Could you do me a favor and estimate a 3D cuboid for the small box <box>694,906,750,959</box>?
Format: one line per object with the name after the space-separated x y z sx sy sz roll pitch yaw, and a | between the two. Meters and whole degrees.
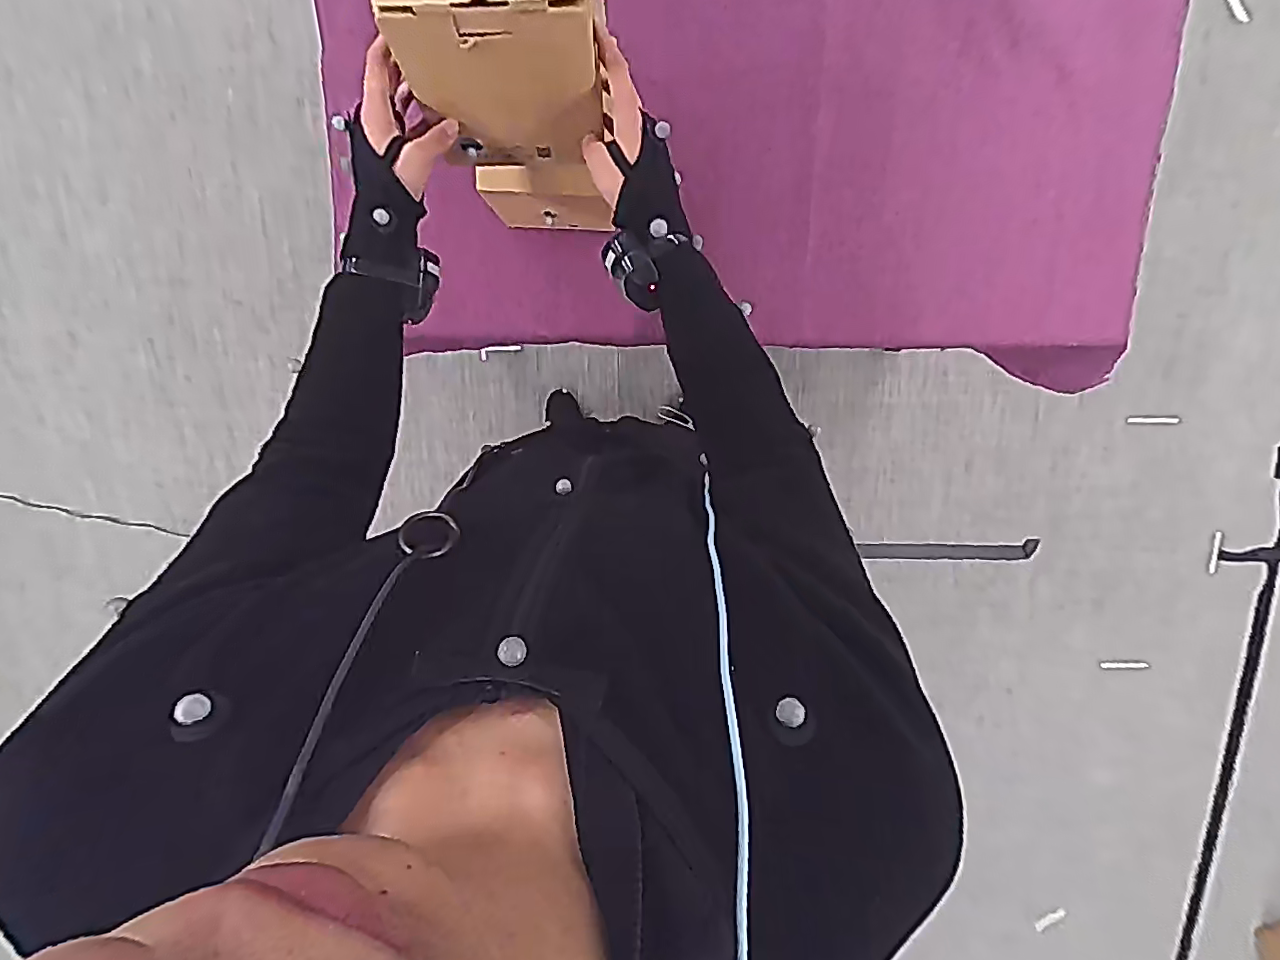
0.282 1.639 1.894 0.179 0.176 0.168 -2 101 -2 | small box

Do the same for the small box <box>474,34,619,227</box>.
-0.116 -0.450 0.717 0.168 0.176 0.179 3 101 -2 | small box

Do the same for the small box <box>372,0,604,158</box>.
-0.121 -0.427 0.498 0.168 0.176 0.179 -1 82 1 | small box
